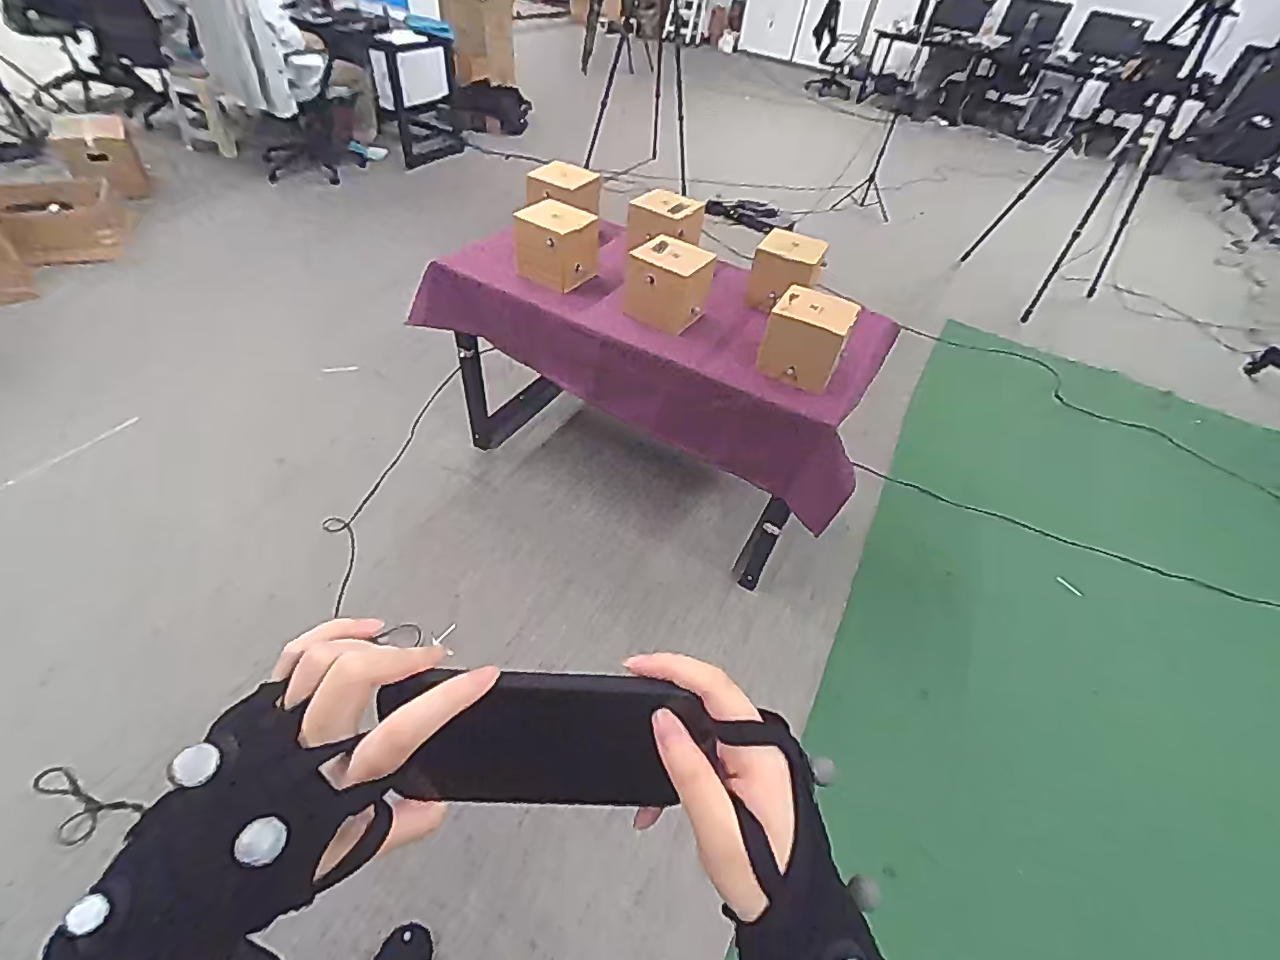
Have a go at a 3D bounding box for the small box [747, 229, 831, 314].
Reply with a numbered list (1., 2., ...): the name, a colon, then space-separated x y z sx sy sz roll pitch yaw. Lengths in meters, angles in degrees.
1. small box: 0.421 -0.586 1.548 0.168 0.176 0.179 24 49 15

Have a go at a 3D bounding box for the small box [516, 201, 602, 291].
1. small box: -0.229 -0.657 1.522 0.179 0.176 0.168 28 49 16

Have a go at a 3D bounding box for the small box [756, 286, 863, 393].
1. small box: 0.406 -0.335 1.310 0.179 0.176 0.168 26 48 15

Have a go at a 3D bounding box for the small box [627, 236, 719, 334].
1. small box: 0.082 -0.515 1.433 0.179 0.176 0.168 30 50 18
